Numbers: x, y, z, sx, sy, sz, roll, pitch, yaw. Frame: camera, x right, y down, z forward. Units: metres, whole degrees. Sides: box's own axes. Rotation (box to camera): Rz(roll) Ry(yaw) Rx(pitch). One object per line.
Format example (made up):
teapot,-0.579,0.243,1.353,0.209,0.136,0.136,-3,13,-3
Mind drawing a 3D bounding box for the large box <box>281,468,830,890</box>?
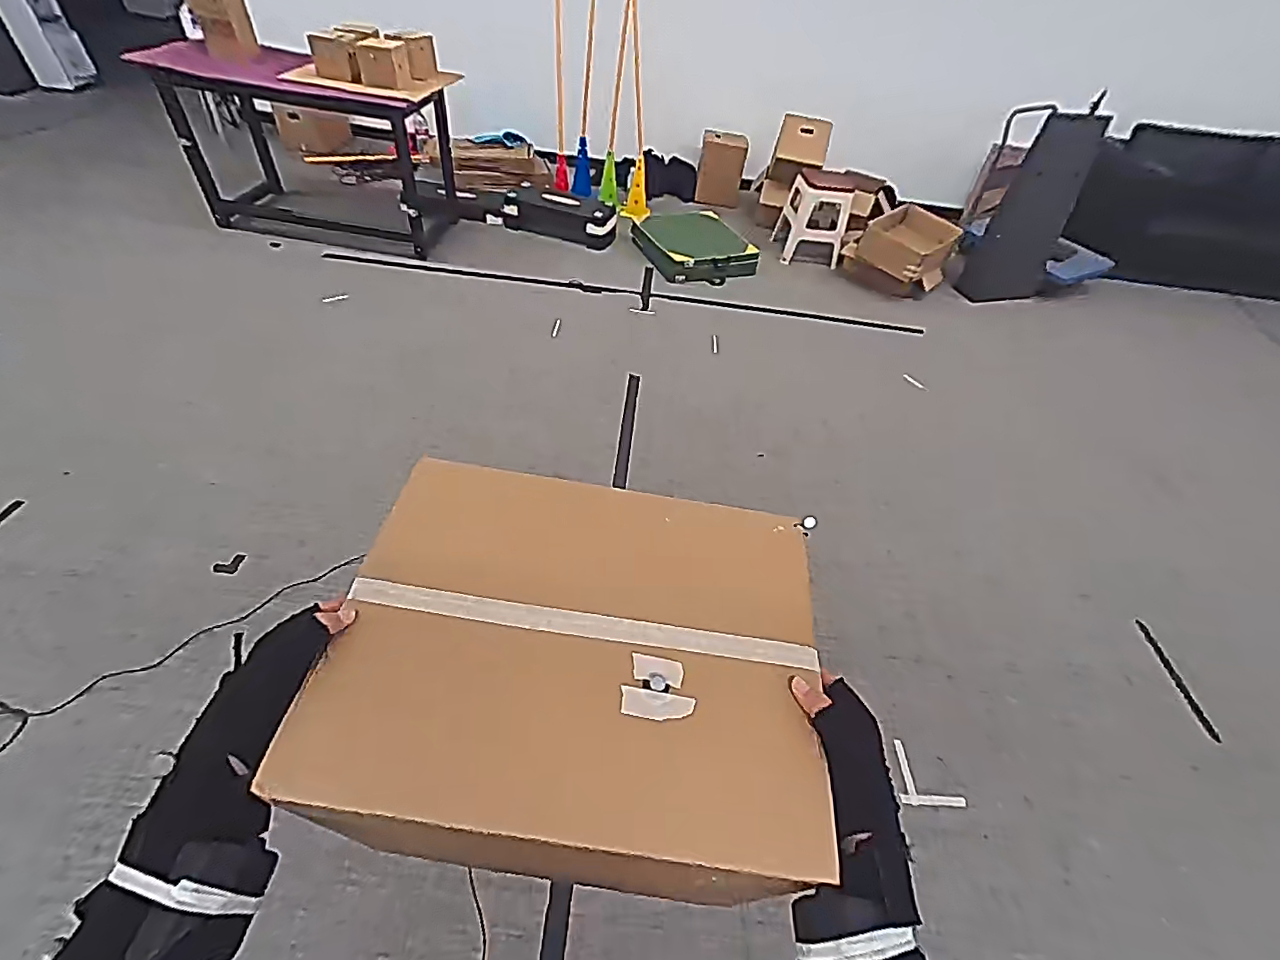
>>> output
large box,-0.062,0.225,0.590,0.408,0.320,0.320,9,50,-1
